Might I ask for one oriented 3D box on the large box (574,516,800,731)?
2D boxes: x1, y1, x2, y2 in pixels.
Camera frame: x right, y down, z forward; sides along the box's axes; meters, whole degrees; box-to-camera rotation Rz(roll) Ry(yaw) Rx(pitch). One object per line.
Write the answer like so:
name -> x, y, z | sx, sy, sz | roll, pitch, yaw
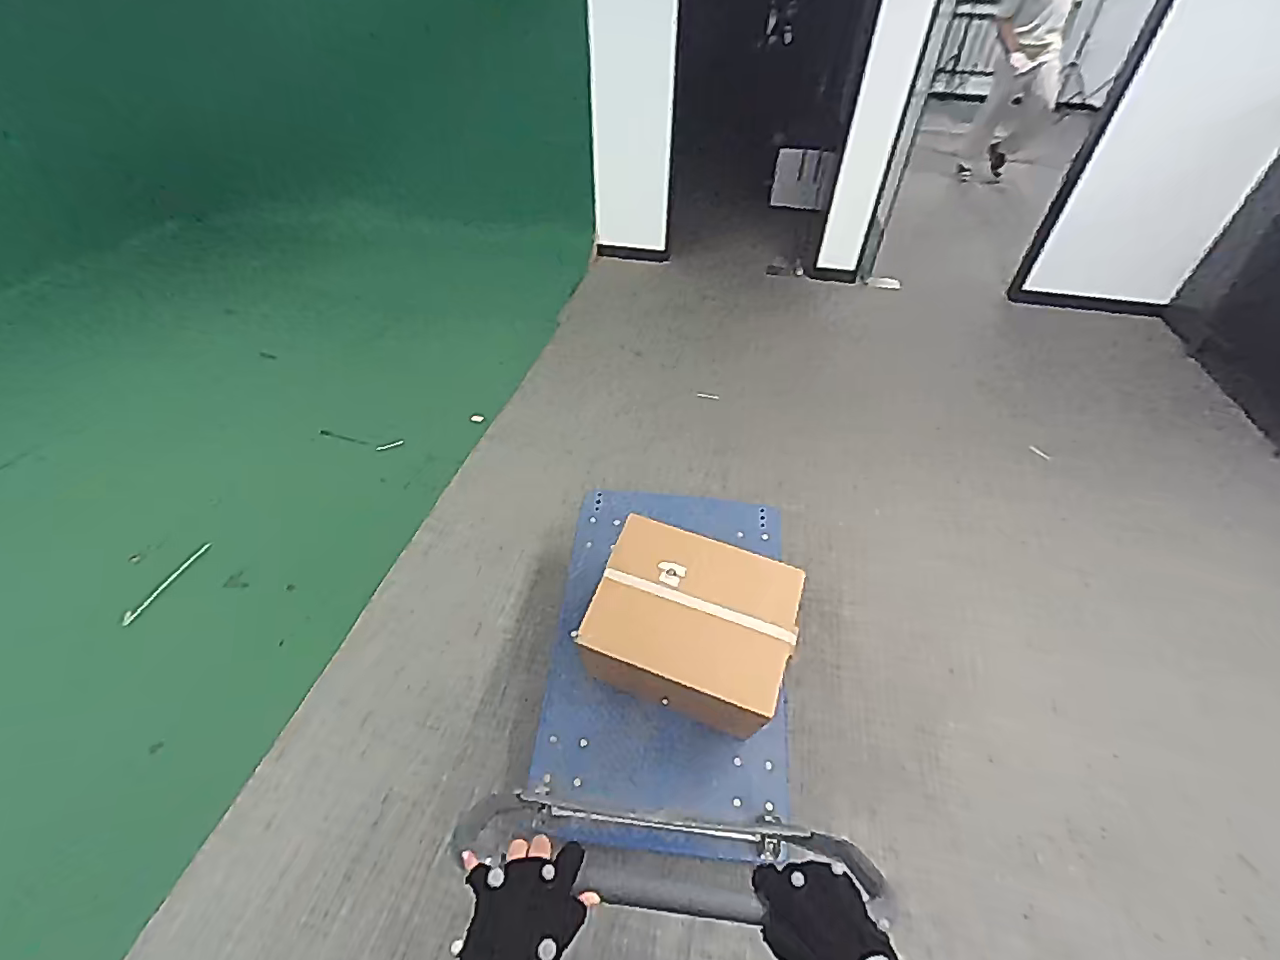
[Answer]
large box -> 0.109, 0.335, 1.236 | 0.408, 0.320, 0.320 | 18, 60, 12
